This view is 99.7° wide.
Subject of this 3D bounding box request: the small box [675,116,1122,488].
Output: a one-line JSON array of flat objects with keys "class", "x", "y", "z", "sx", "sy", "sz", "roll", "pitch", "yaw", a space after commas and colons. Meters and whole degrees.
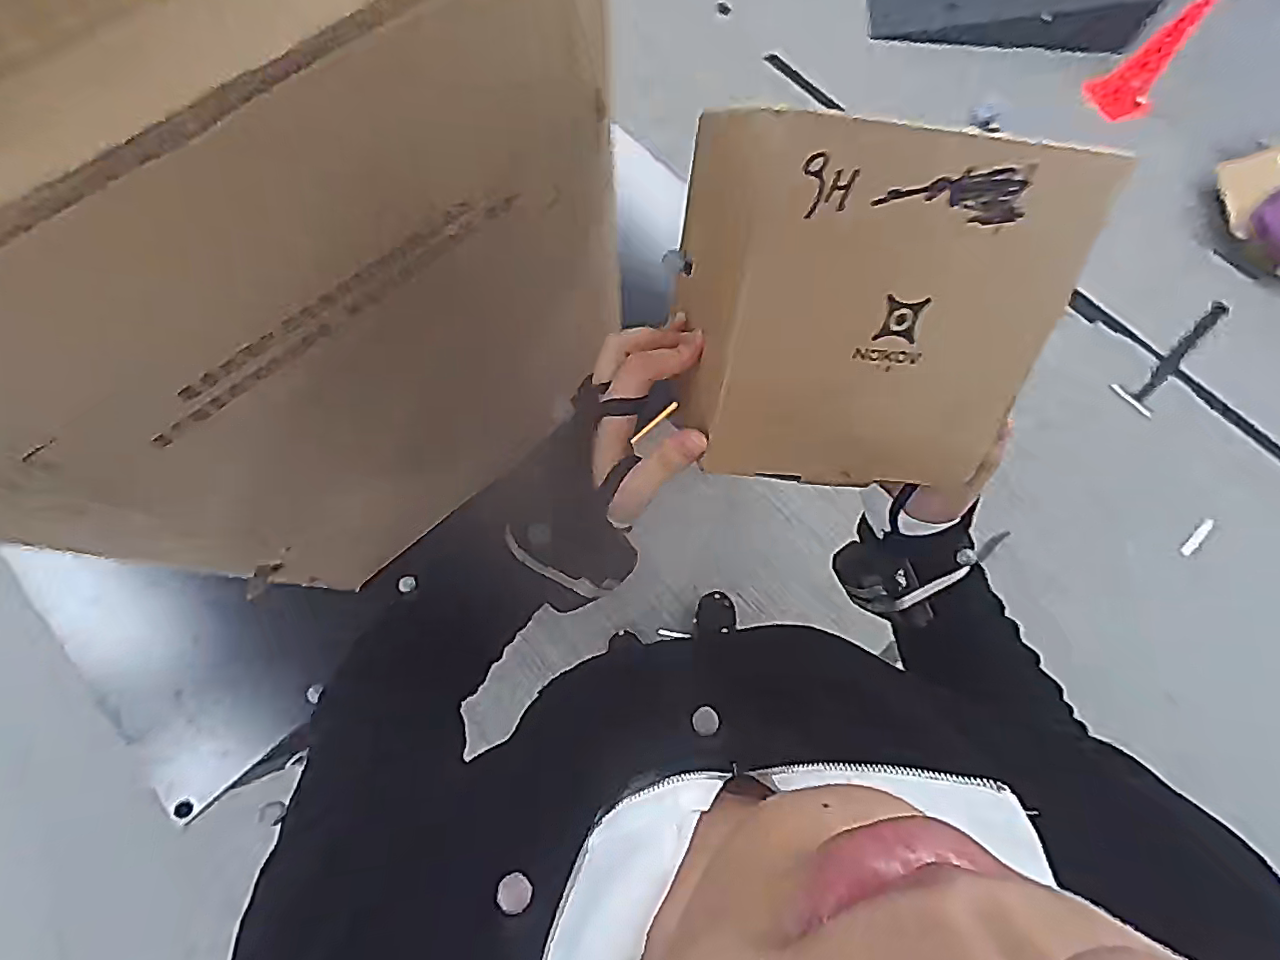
[{"class": "small box", "x": 0.120, "y": -0.115, "z": 0.342, "sx": 0.168, "sy": 0.179, "sz": 0.176, "roll": 3, "pitch": 33, "yaw": -8}]
